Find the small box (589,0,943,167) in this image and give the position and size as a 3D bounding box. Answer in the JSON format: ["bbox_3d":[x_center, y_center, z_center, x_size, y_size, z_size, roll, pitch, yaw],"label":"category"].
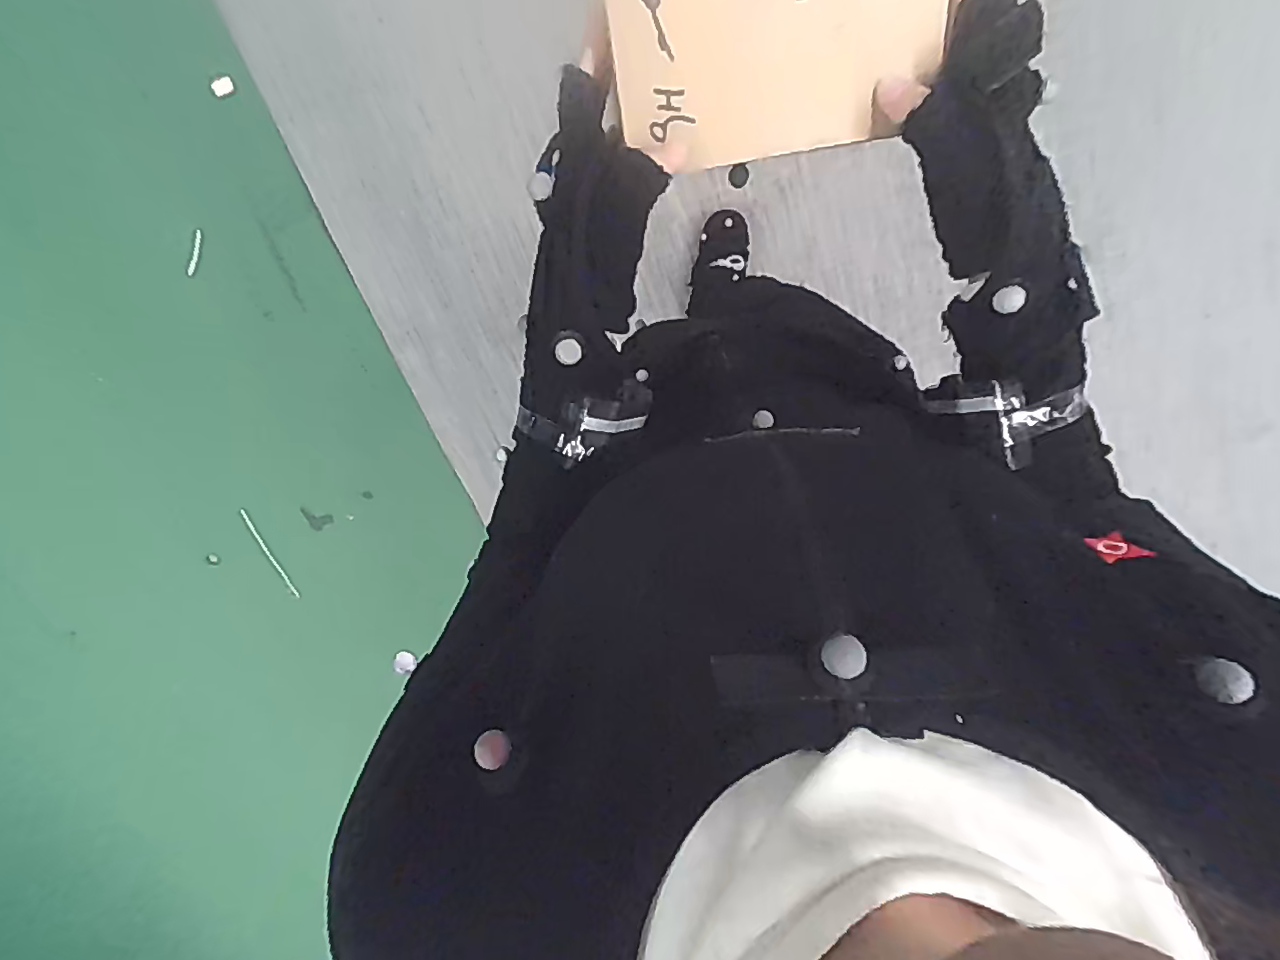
[{"bbox_3d":[0.059,-0.298,0.330,0.179,0.176,0.168,-9,119,1],"label":"small box"}]
